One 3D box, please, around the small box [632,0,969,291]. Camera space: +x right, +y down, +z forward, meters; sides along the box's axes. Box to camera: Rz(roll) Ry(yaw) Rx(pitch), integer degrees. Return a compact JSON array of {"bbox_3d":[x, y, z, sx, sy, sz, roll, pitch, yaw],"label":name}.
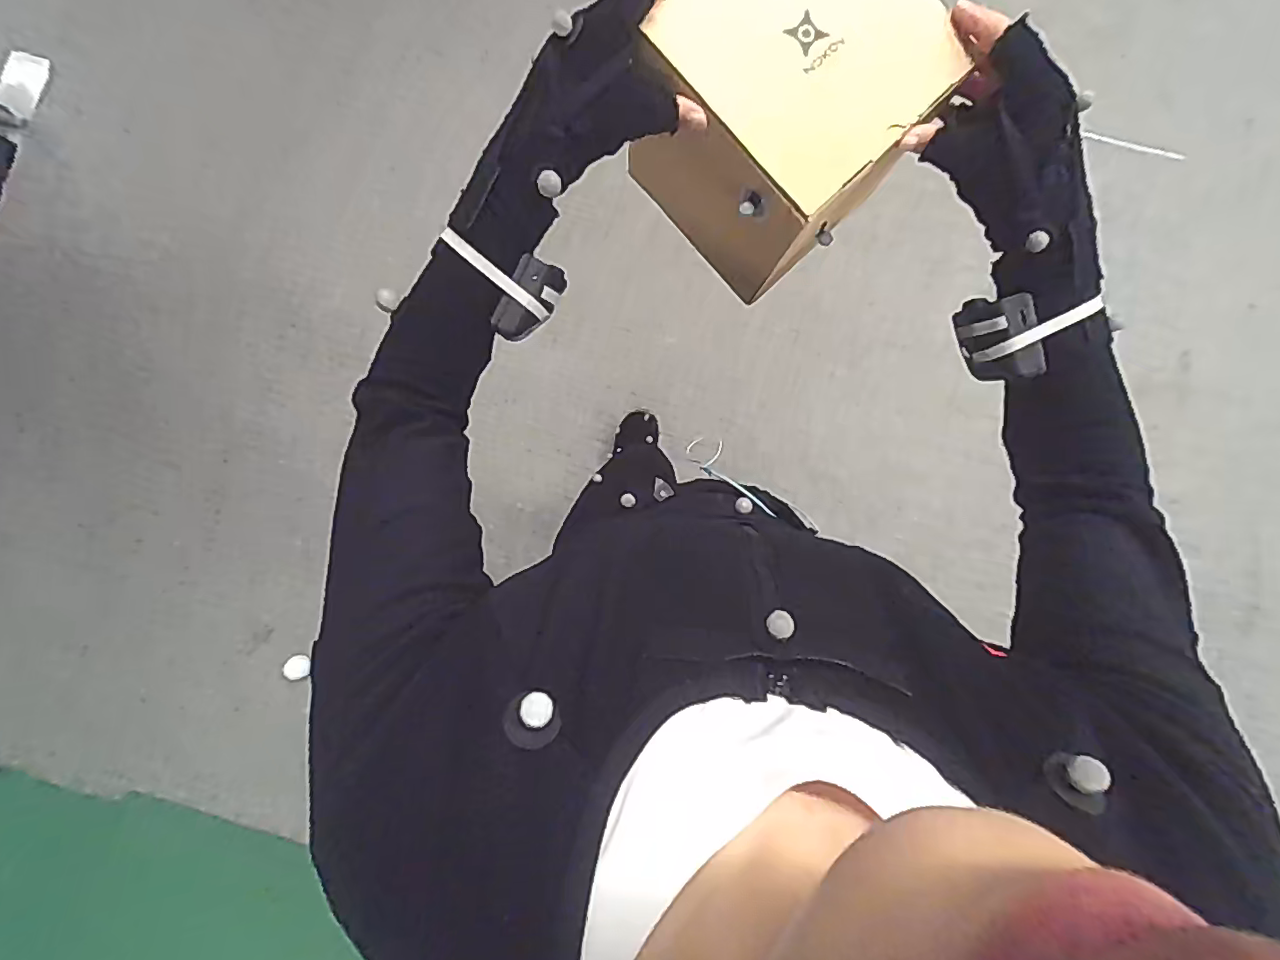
[{"bbox_3d":[0.107,-0.292,0.446,0.168,0.176,0.179,-42,92,-3],"label":"small box"}]
